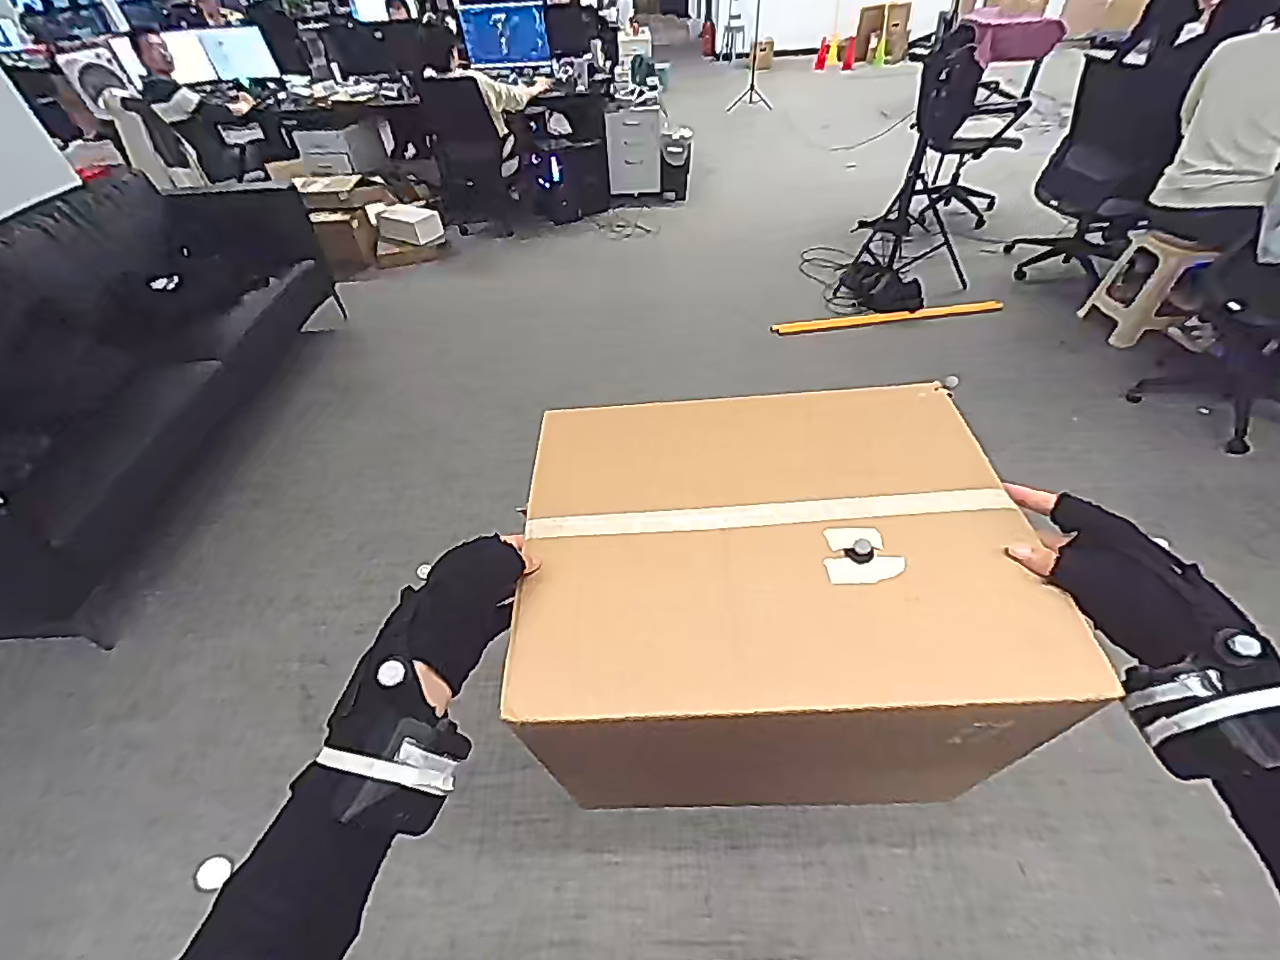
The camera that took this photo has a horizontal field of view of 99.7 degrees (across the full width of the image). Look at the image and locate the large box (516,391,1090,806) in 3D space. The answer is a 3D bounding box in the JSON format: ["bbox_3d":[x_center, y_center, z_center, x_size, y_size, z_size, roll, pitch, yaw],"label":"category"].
[{"bbox_3d":[0.116,0.136,0.580,0.408,0.320,0.320,-4,49,3],"label":"large box"}]
